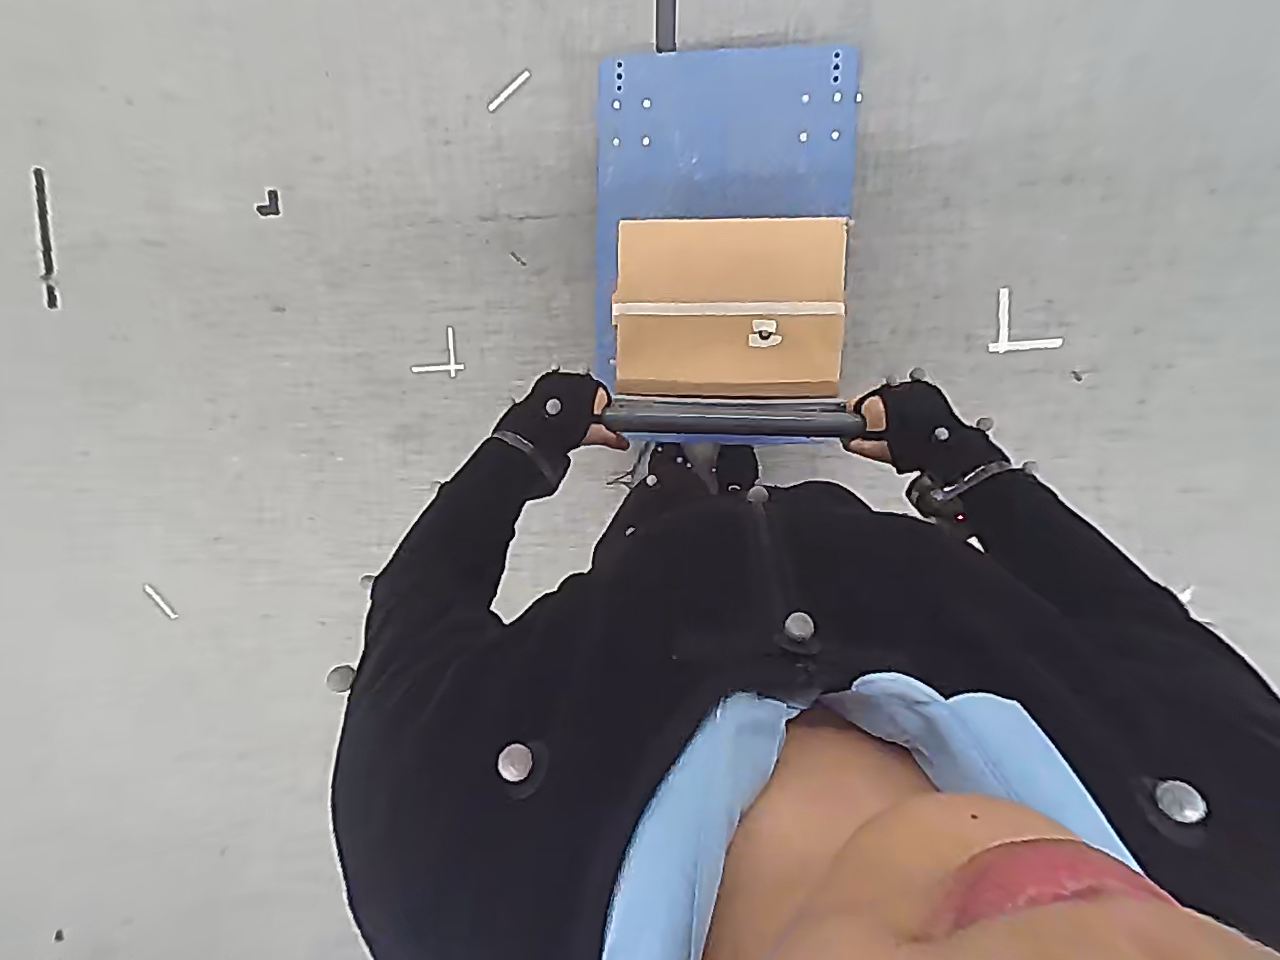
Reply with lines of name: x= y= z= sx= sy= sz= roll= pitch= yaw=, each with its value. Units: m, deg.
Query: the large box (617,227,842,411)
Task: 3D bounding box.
large box: x=0.166 y=-0.306 z=1.121 sx=0.408 sy=0.320 sz=0.320 roll=1 pitch=97 yaw=5
